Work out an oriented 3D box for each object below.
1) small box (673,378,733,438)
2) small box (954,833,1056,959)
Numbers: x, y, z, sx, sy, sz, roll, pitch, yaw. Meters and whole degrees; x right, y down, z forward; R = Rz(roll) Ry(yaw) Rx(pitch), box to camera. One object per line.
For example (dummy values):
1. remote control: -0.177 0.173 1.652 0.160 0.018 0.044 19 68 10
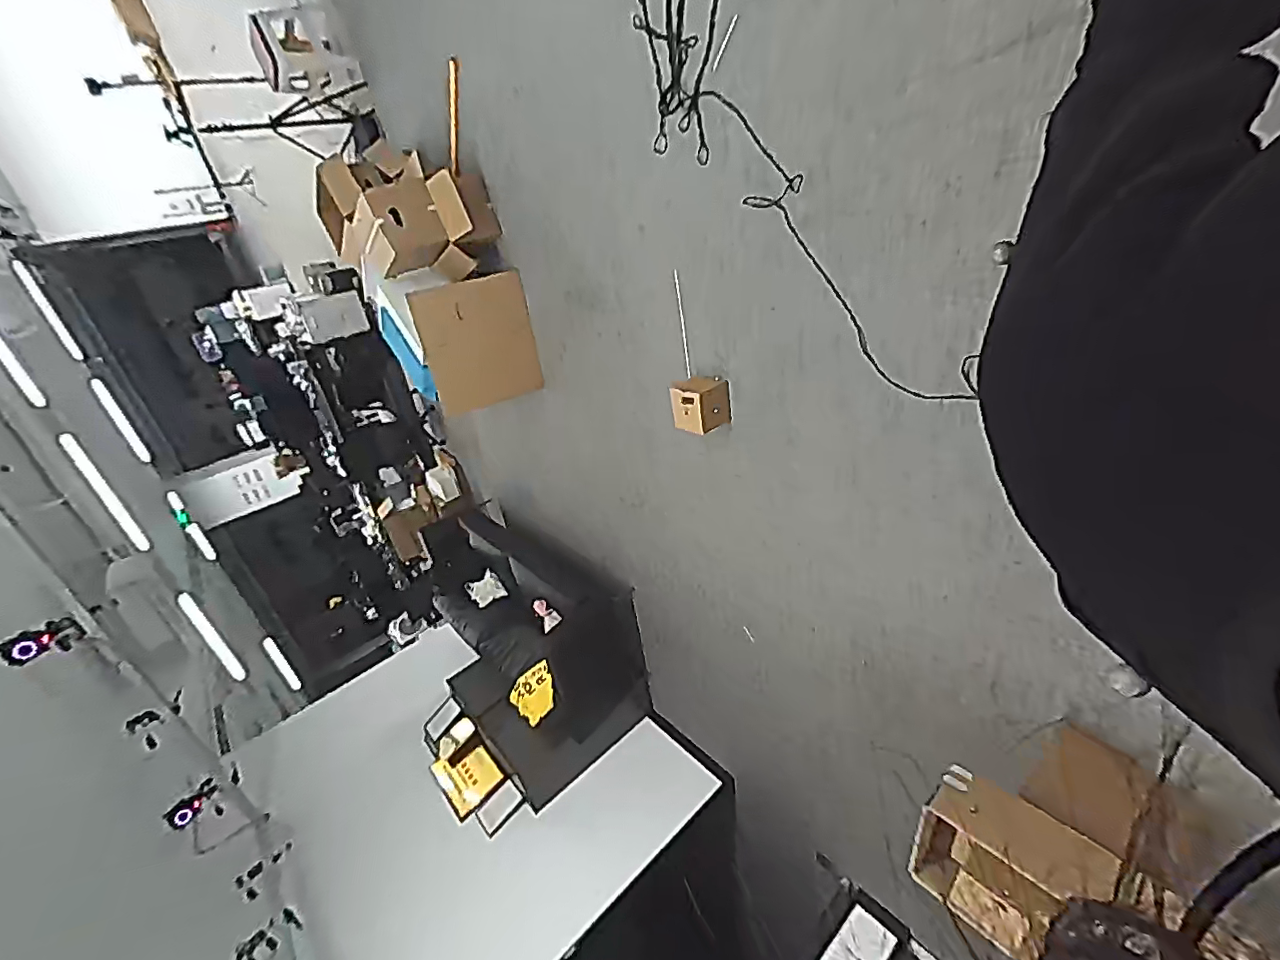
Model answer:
1. small box: 0.257 -0.295 2.170 0.168 0.176 0.179 23 133 46
2. small box: 0.966 1.094 1.431 0.168 0.176 0.179 25 134 42
